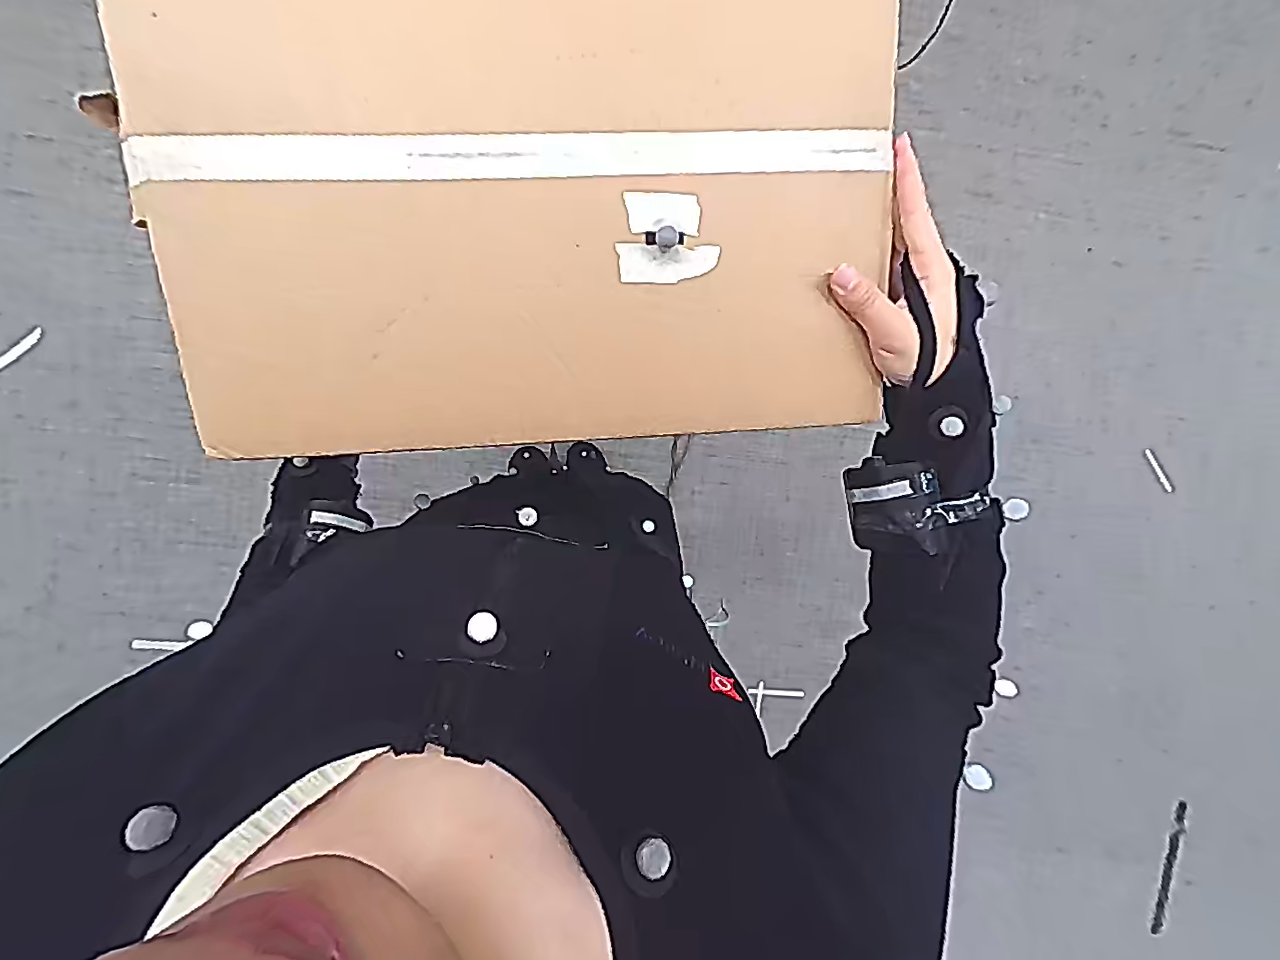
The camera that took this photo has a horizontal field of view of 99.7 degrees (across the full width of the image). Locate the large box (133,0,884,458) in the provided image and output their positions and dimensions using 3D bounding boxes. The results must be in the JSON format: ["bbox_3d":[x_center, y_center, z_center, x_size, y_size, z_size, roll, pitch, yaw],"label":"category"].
[{"bbox_3d":[-0.072,-0.210,0.451,0.408,0.320,0.320,-5,103,-7],"label":"large box"}]
